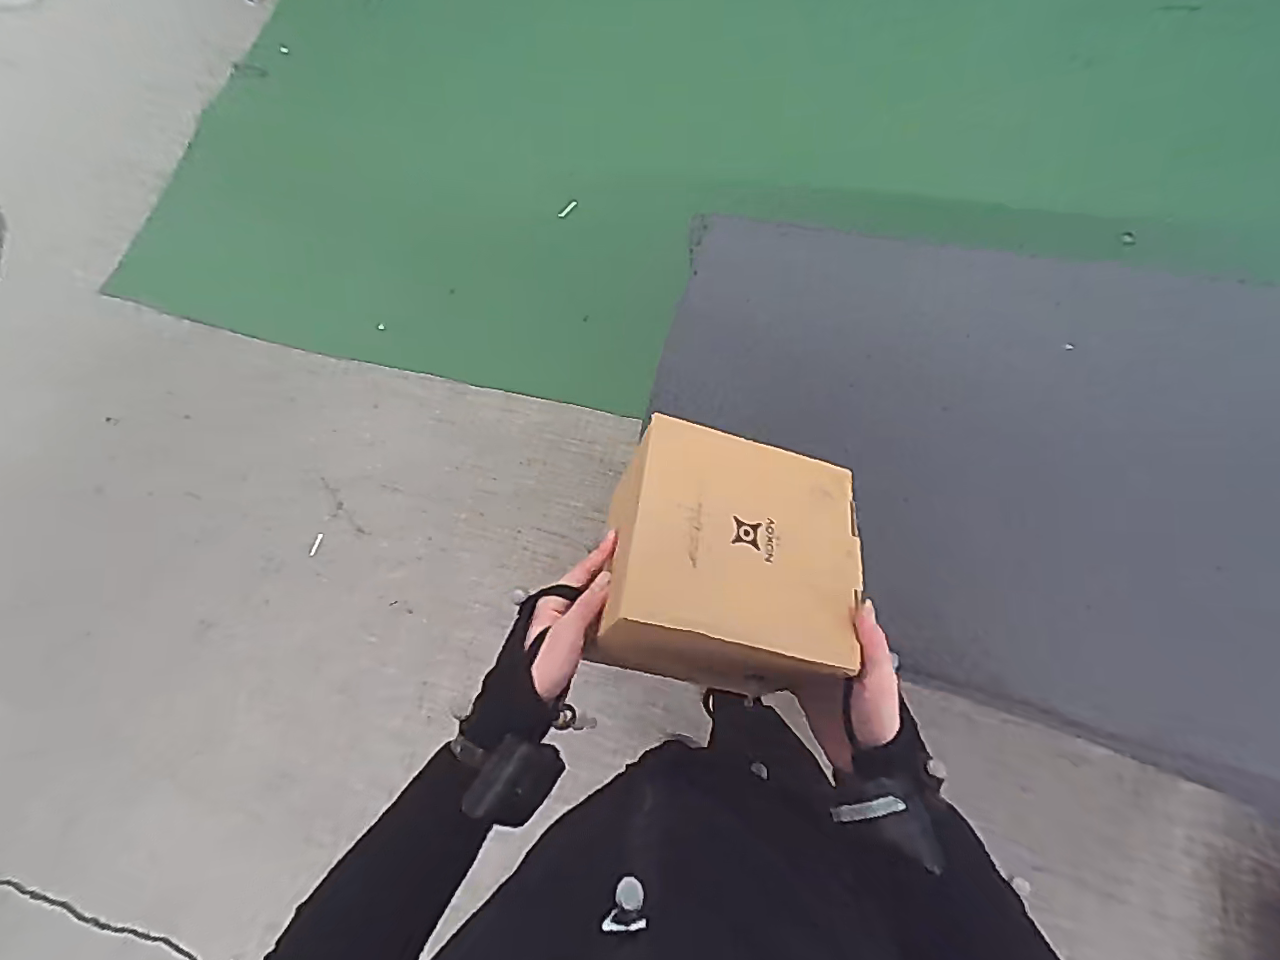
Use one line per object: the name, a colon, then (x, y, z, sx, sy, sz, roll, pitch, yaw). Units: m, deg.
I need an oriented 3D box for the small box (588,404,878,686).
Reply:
small box: (0.066, 0.068, 0.453, 0.179, 0.176, 0.168, 14, 59, -9)
